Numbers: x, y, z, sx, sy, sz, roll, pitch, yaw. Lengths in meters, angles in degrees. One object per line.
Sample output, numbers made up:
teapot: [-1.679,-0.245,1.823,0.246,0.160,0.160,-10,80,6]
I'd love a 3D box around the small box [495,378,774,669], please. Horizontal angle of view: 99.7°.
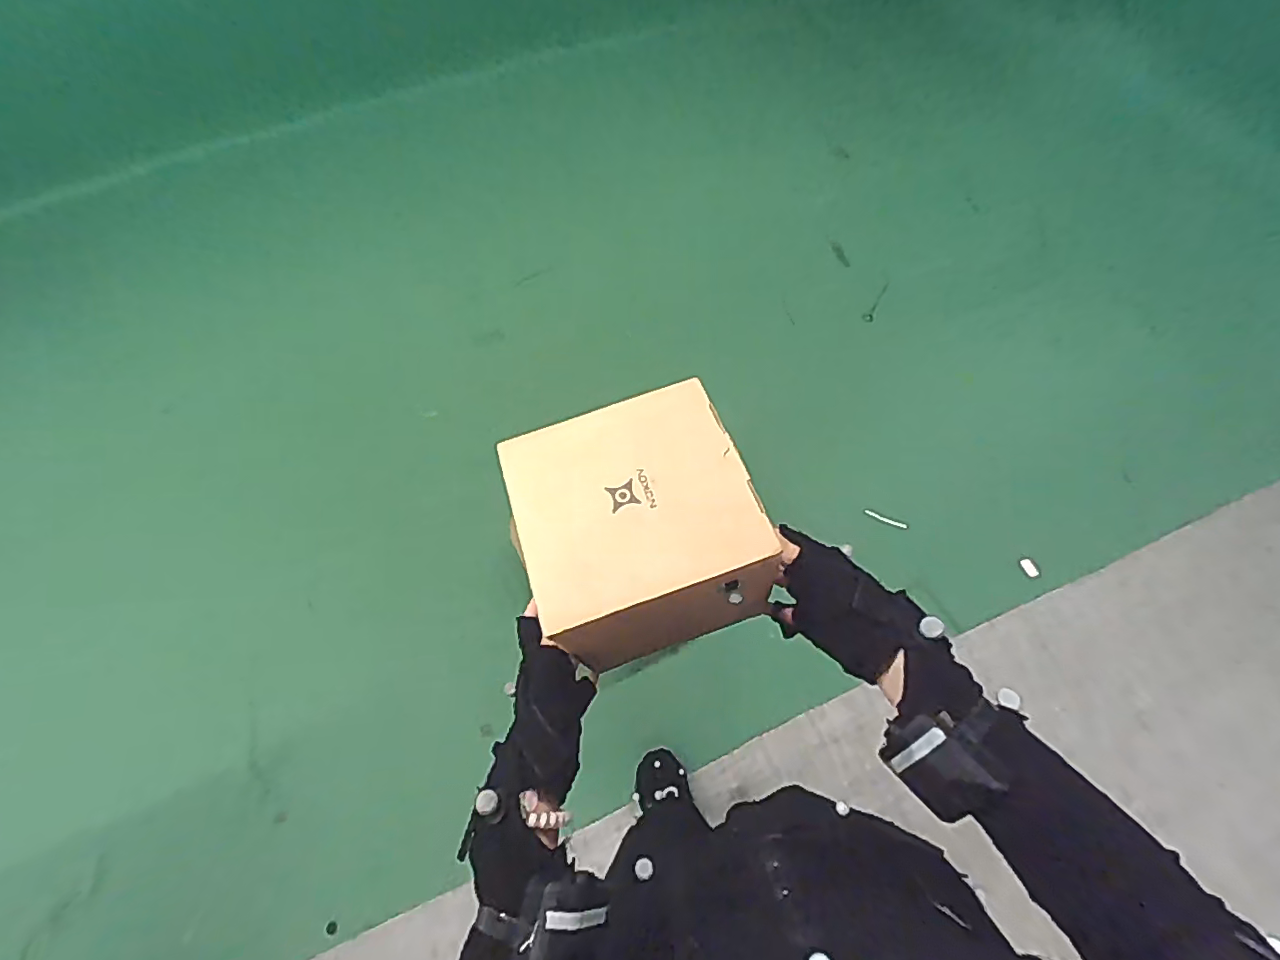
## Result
small box: [-0.002,0.048,0.471,0.179,0.176,0.168,-20,61,-3]
